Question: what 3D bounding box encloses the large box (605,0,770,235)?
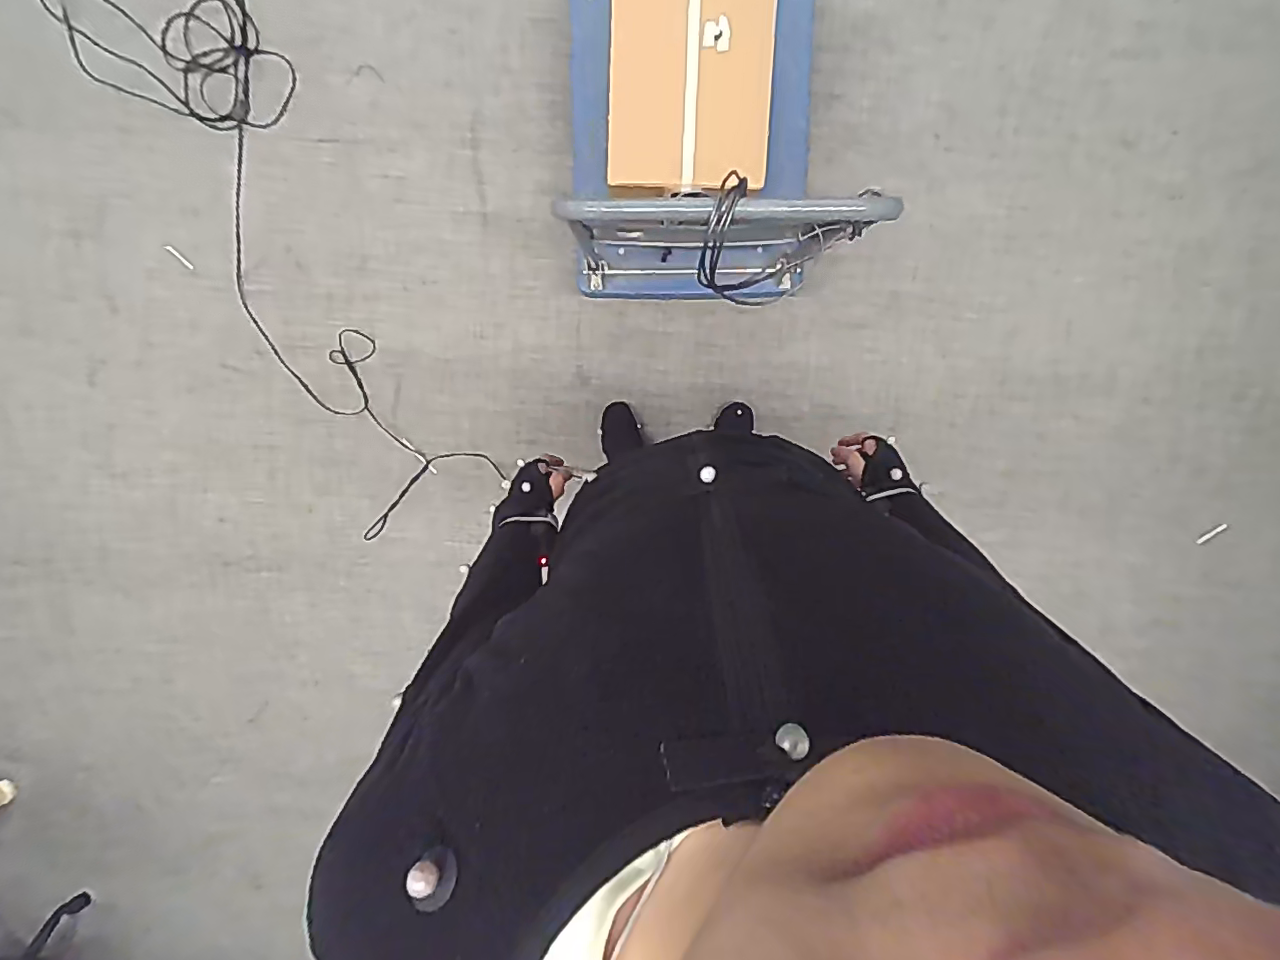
[{"bbox_3d":[0.096,-0.792,1.191,0.320,0.320,0.408,2,98,1],"label":"large box"}]
